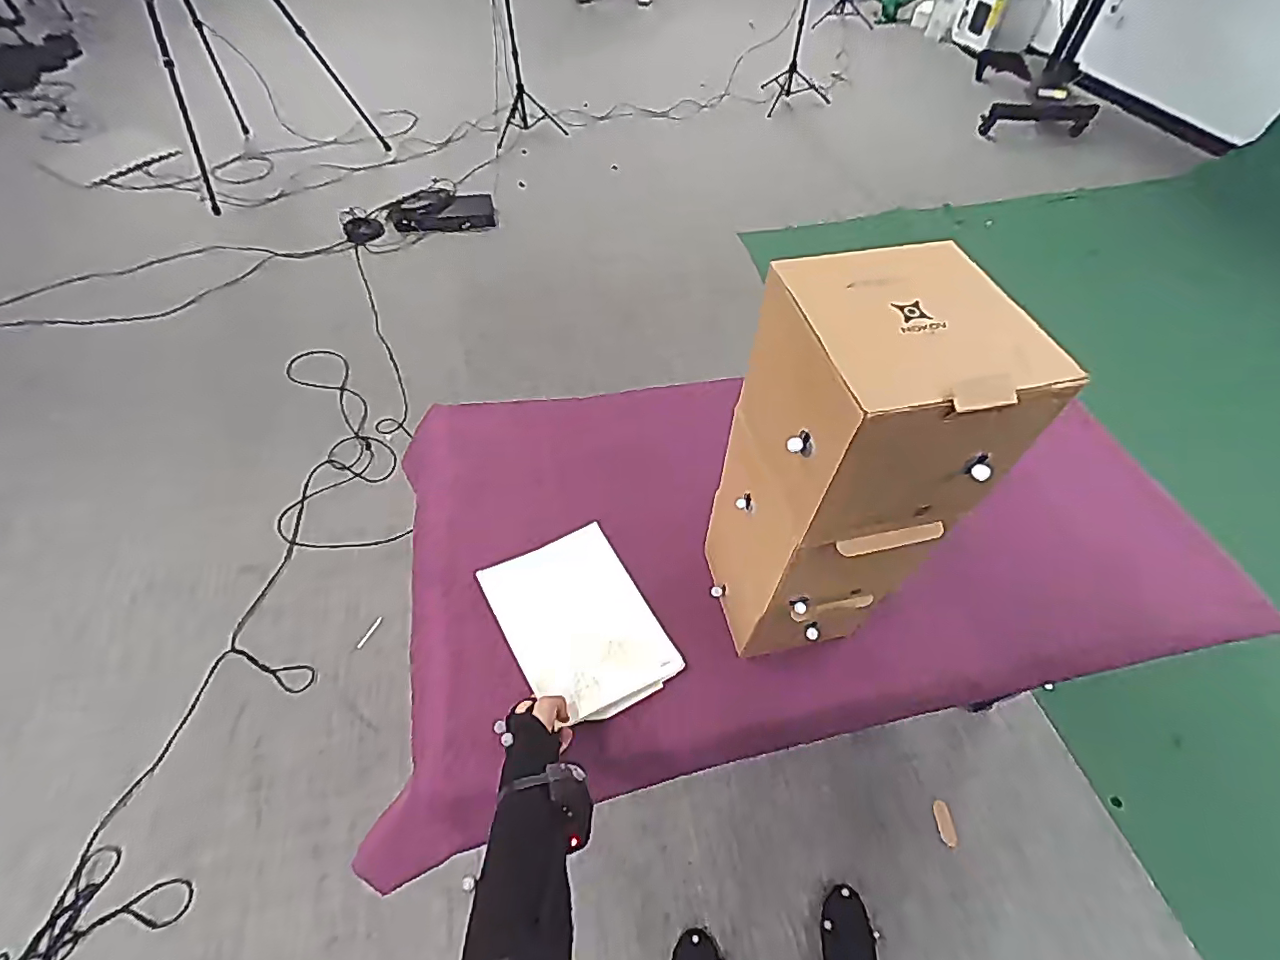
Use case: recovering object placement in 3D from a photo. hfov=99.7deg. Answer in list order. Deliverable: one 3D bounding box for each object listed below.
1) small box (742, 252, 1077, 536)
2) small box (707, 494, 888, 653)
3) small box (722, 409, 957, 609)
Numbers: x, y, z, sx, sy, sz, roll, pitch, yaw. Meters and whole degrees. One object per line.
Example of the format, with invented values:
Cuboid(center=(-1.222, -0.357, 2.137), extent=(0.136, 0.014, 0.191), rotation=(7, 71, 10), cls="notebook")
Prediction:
Cuboid(center=(0.200, -0.066, 0.466), extent=(0.168, 0.176, 0.179), rotation=(-9, 53, -7), cls="small box")
Cuboid(center=(0.197, 0.121, 0.735), extent=(0.168, 0.176, 0.179), rotation=(-10, 55, -8), cls="small box")
Cuboid(center=(0.198, 0.028, 0.599), extent=(0.168, 0.176, 0.179), rotation=(-10, 53, -7), cls="small box")
